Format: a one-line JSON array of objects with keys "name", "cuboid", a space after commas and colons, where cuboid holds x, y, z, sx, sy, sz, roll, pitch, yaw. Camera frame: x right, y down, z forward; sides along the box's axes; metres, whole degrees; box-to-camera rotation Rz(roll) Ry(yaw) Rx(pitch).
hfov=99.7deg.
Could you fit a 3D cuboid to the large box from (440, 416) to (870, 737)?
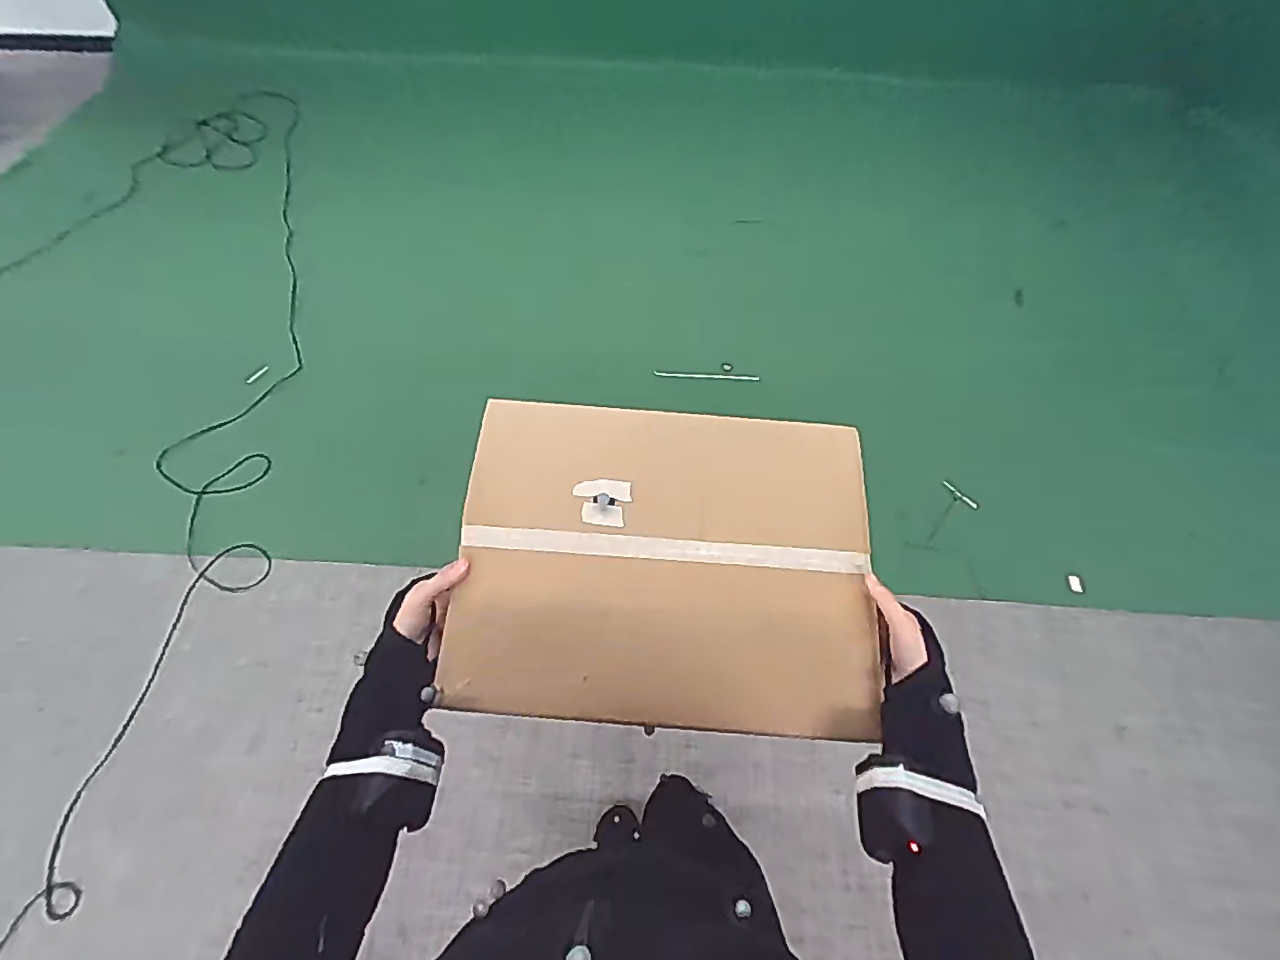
[{"name": "large box", "cuboid": [0.021, 0.135, 0.686, 0.408, 0.320, 0.320, 4, 67, 1]}]
